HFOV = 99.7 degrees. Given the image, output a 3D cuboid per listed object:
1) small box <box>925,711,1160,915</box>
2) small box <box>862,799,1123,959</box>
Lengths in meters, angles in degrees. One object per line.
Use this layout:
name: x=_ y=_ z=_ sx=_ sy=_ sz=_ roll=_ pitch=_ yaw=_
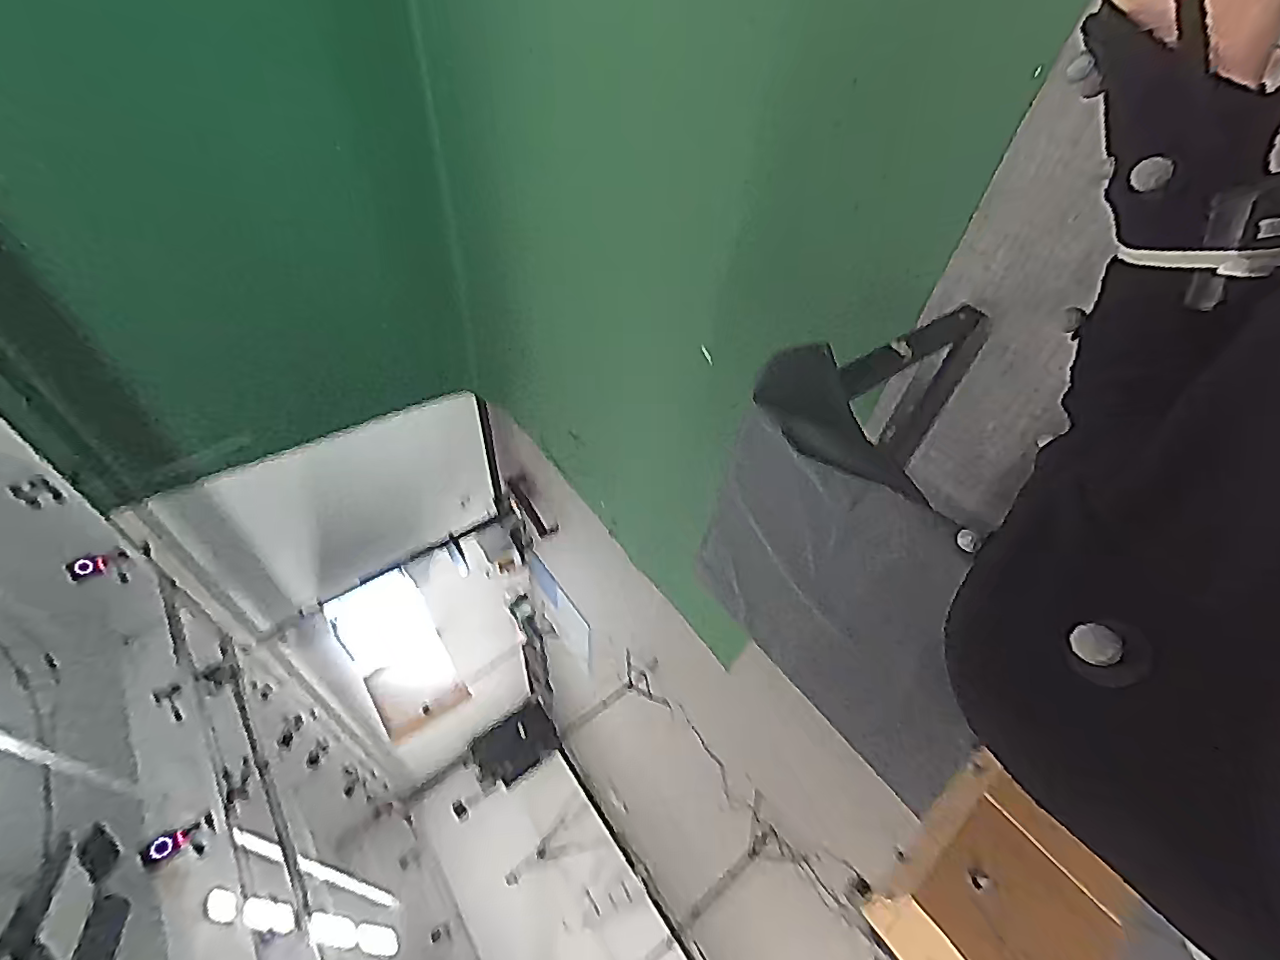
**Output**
small box: x=0.540 y=0.455 z=0.735 sx=0.168 sy=0.176 sz=0.179 roll=45 pitch=147 yaw=30
small box: x=0.416 y=0.524 z=0.656 sx=0.179 sy=0.176 sz=0.168 roll=43 pitch=148 yaw=31
